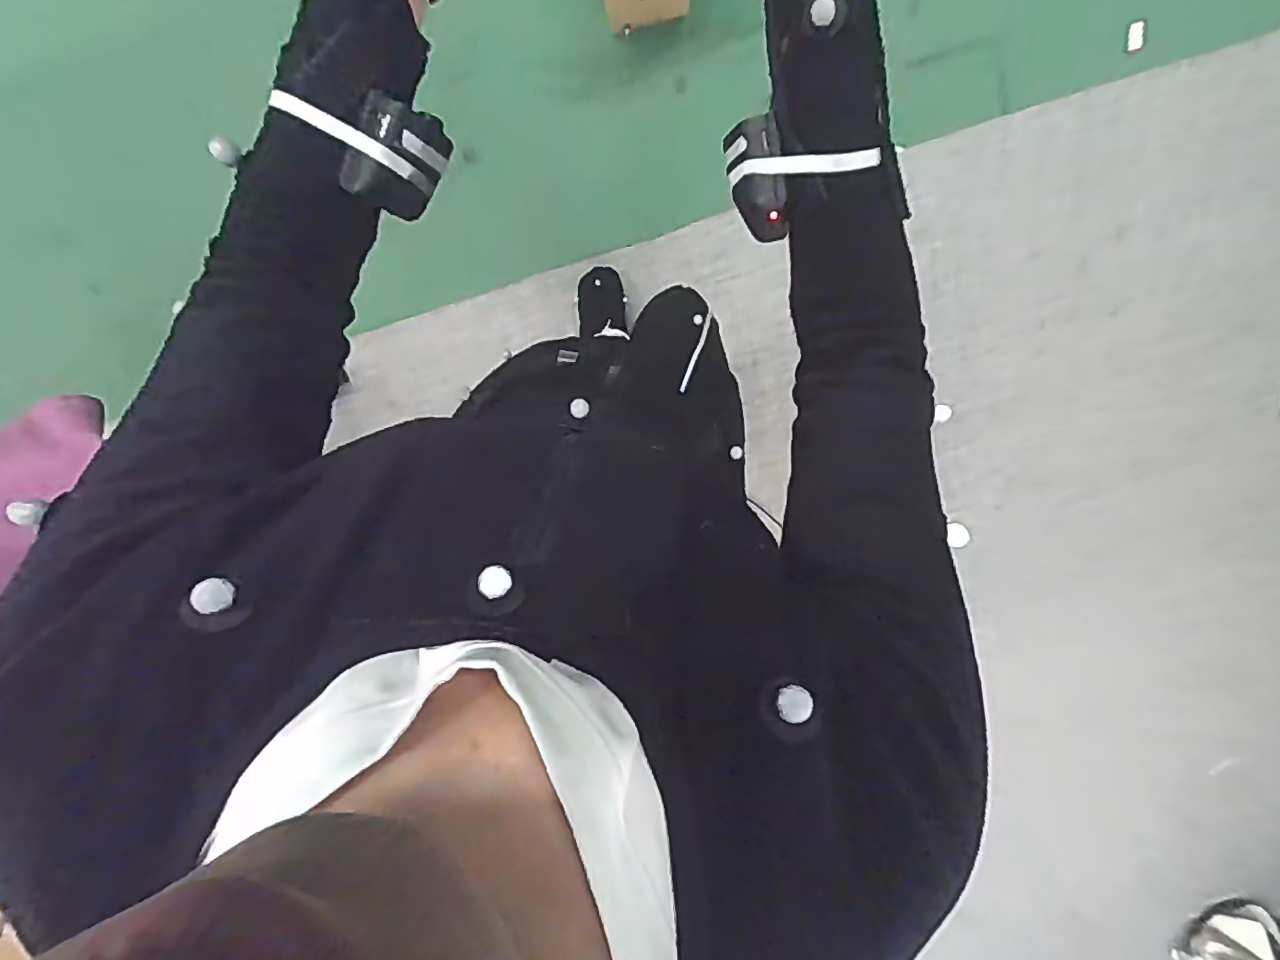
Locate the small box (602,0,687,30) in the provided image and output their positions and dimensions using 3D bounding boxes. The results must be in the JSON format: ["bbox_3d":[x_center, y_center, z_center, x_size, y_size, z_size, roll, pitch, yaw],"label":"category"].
[{"bbox_3d":[-0.001,-0.996,1.026,0.168,0.176,0.179,-15,113,5],"label":"small box"}]
